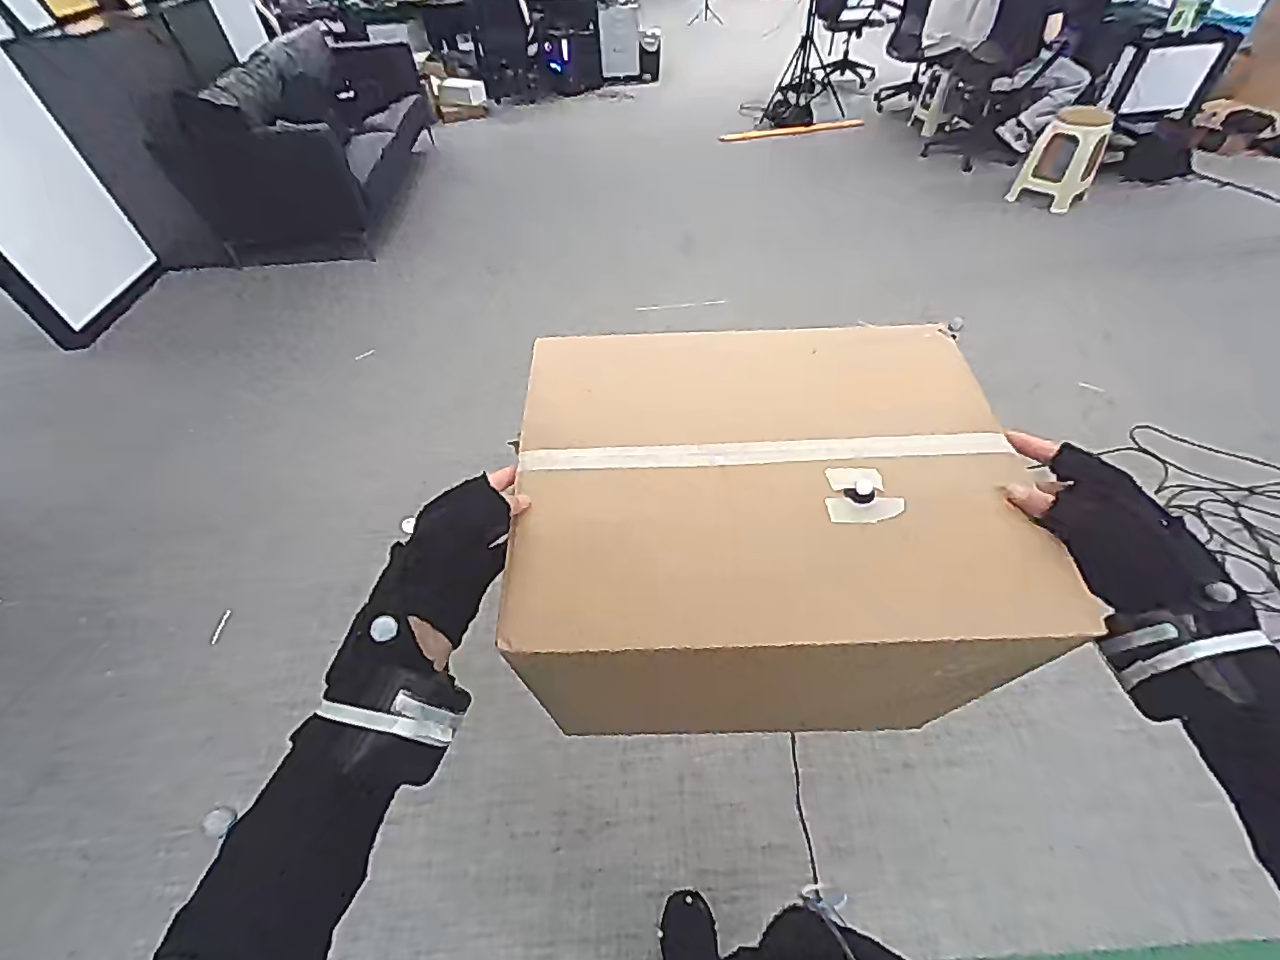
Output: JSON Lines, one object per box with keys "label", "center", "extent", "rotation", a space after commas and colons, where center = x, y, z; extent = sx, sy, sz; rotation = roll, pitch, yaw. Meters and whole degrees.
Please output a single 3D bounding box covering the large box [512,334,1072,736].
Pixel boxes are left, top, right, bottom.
{"label": "large box", "center": [0.103, 0.072, 0.583], "extent": [0.408, 0.320, 0.320], "rotation": [-3, 56, 1]}
